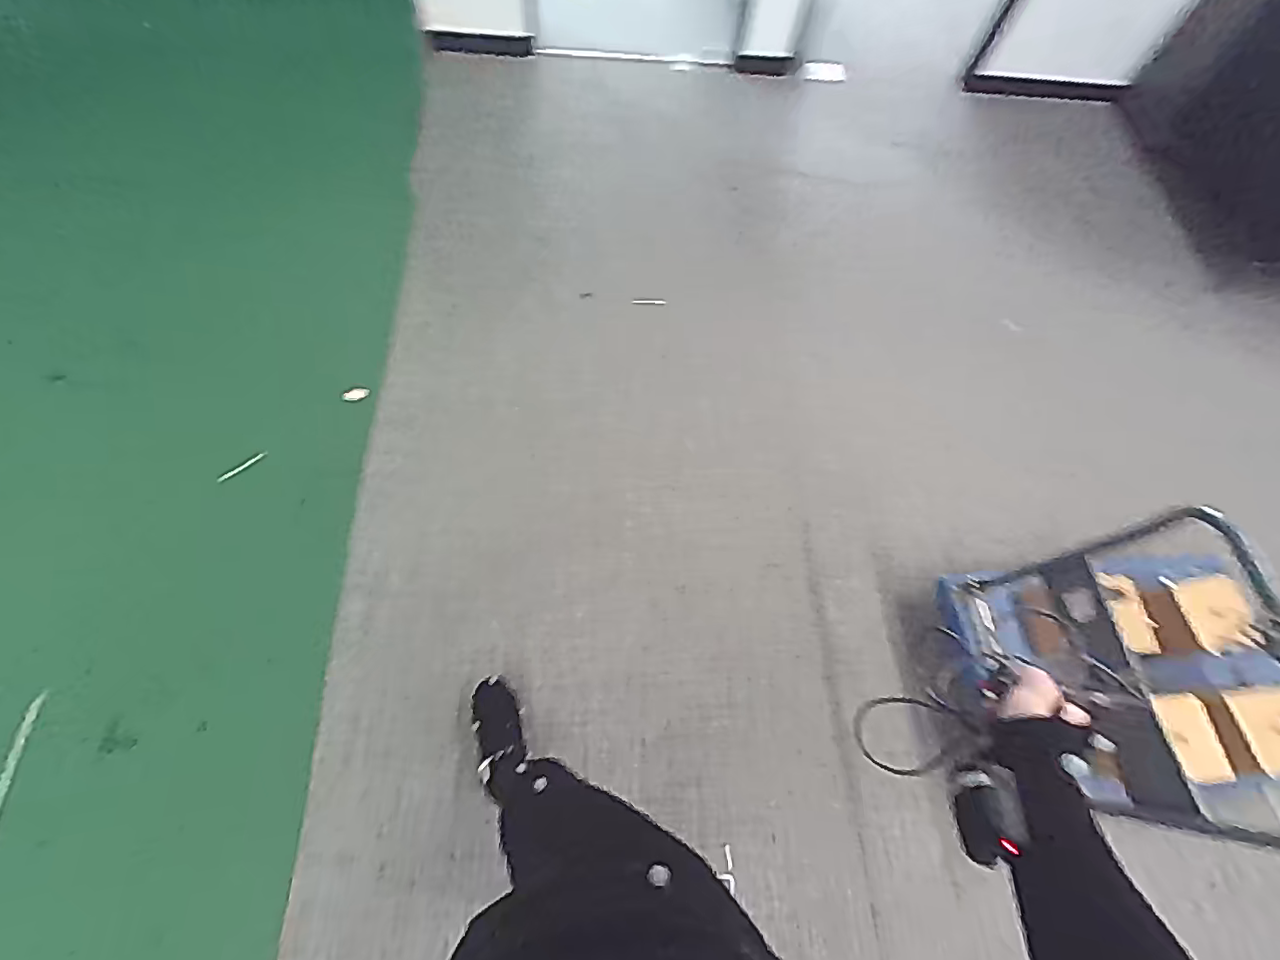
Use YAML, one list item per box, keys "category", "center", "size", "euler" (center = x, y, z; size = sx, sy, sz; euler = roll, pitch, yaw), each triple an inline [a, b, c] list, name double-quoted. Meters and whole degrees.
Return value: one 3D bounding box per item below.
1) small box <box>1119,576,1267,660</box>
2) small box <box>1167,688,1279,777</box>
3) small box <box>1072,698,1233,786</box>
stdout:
- category: "small box"
  center: [1.373, 0.351, 1.364]
  size: [0.179, 0.176, 0.168]
  euler: [-6, 67, -8]
- category: "small box"
  center: [1.398, 0.584, 1.260]
  size: [0.179, 0.176, 0.168]
  euler: [-5, 65, -7]
- category: "small box"
  center: [1.154, 0.593, 1.234]
  size: [0.179, 0.176, 0.168]
  euler: [-2, 66, -5]
